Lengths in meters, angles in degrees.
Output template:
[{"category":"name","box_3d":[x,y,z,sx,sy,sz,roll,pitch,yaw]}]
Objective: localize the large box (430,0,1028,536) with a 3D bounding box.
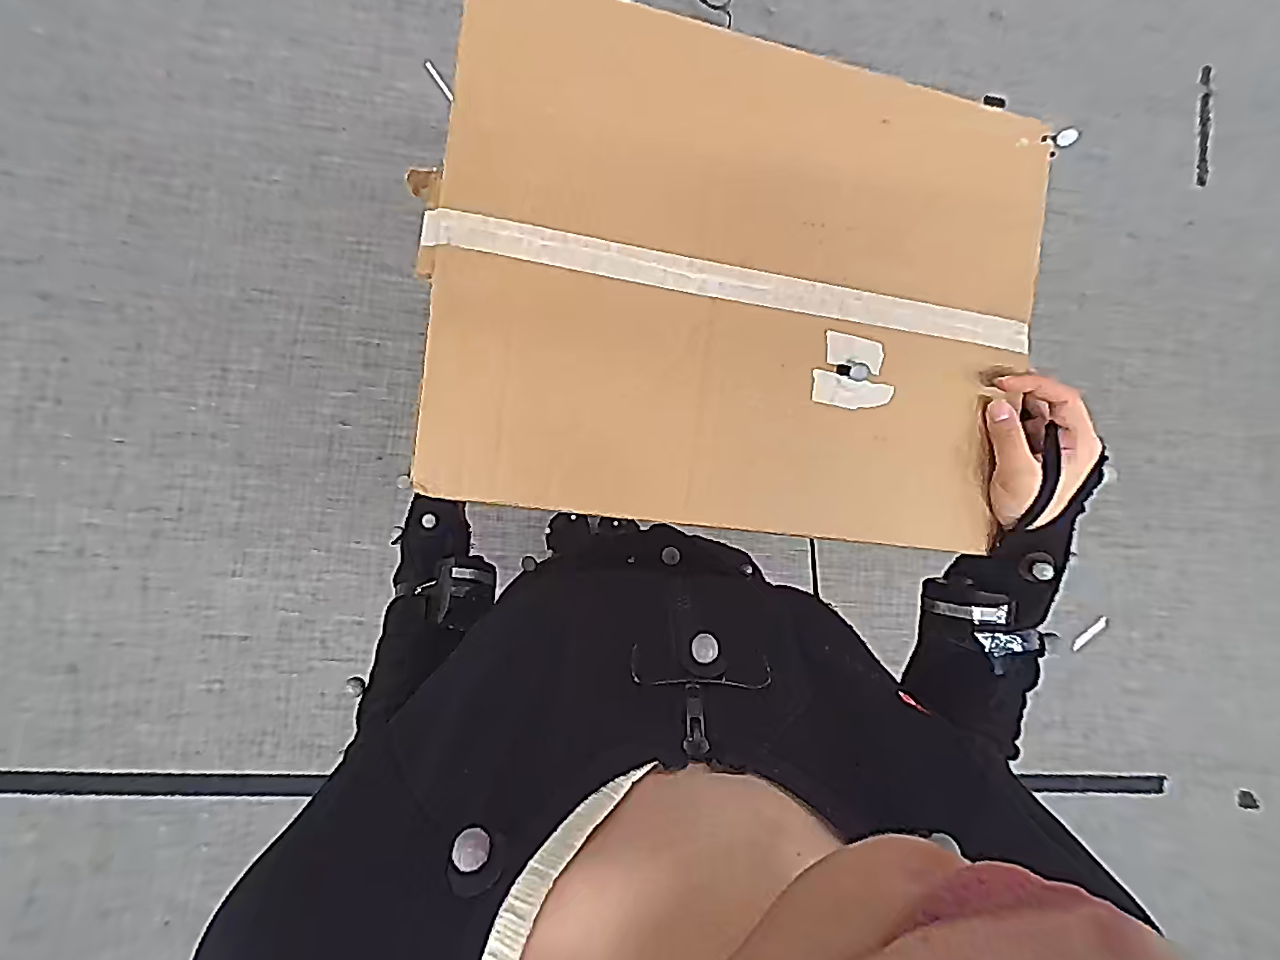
[{"category":"large box","box_3d":[0.048,-0.133,0.505,0.408,0.320,0.320,7,92,-13]}]
